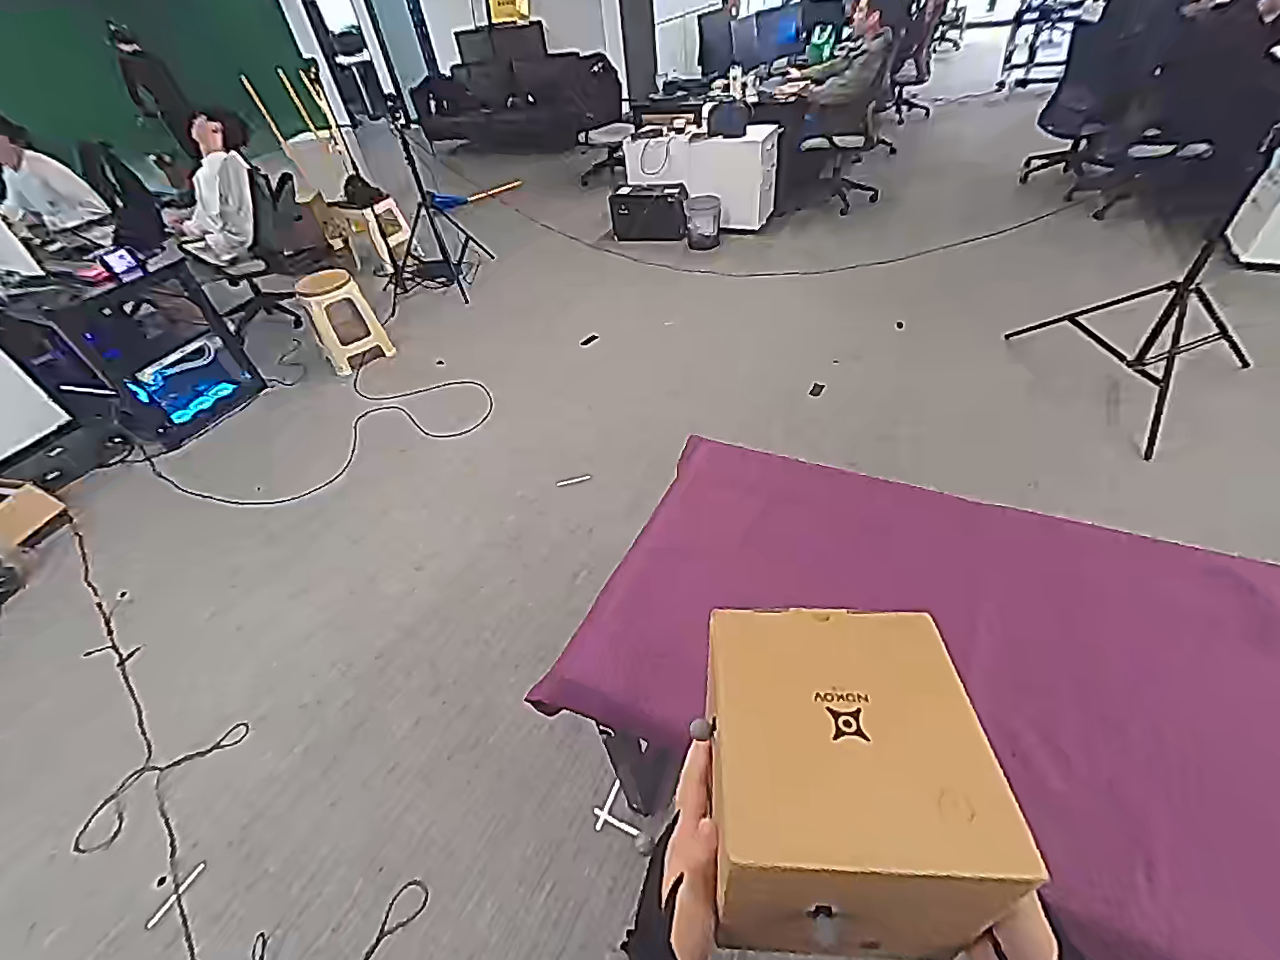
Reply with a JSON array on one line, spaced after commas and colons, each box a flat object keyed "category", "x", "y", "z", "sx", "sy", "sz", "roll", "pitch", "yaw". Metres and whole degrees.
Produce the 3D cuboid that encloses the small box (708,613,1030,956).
[{"category": "small box", "x": 0.137, "y": 0.222, "z": 0.404, "sx": 0.168, "sy": 0.176, "sz": 0.179, "roll": 0, "pitch": 36, "yaw": 4}]
